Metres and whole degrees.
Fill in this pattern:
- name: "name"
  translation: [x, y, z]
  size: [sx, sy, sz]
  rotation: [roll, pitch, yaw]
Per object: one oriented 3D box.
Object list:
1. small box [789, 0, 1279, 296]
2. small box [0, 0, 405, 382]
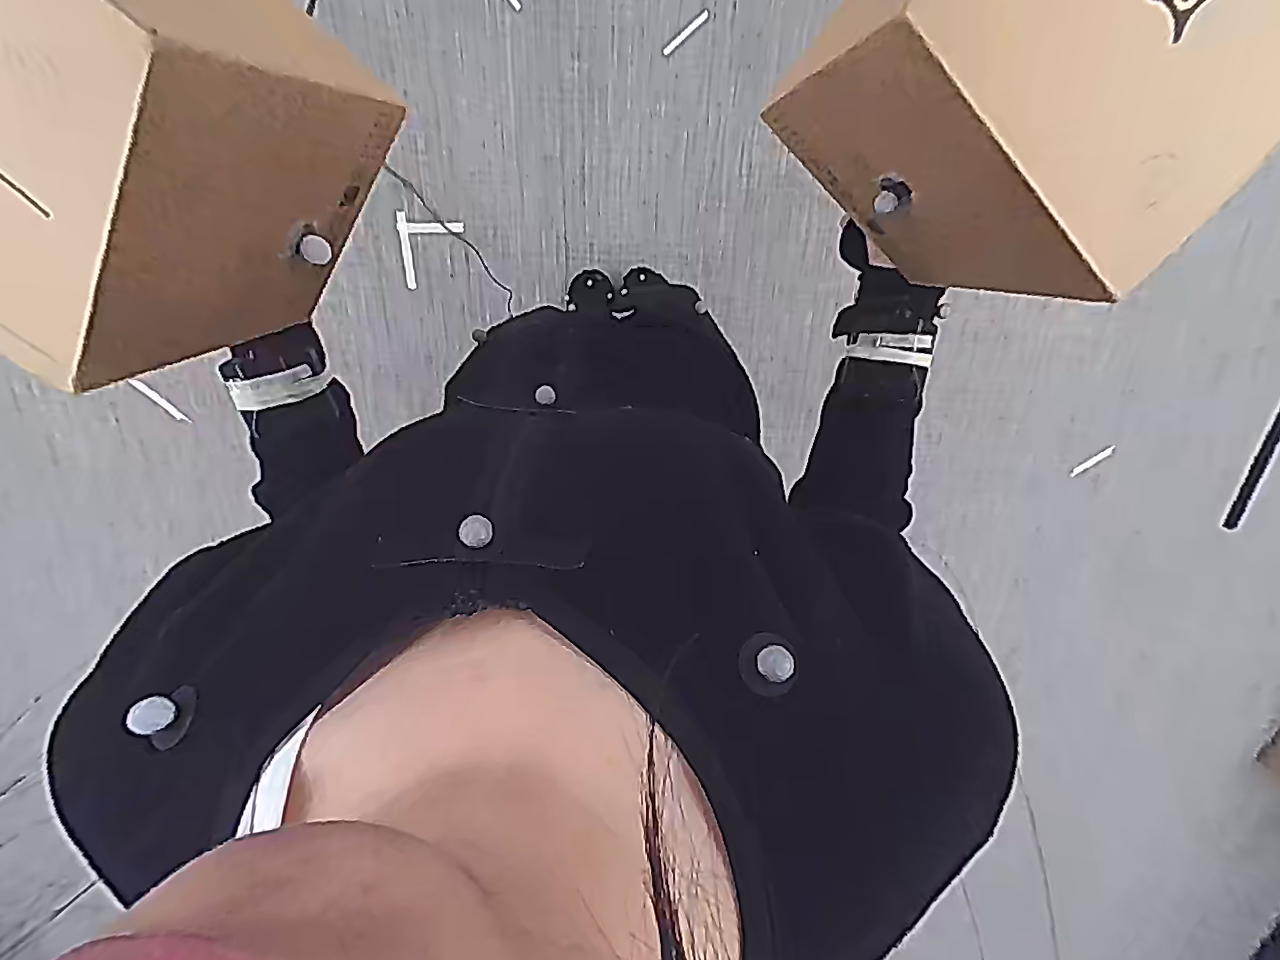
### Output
- name: "small box"
  translation: [0.202, -0.222, 0.280]
  size: [0.168, 0.176, 0.179]
  rotation: [35, 104, -20]
- name: "small box"
  translation: [-0.257, -0.182, 0.262]
  size: [0.179, 0.176, 0.168]
  rotation: [37, 116, -13]
